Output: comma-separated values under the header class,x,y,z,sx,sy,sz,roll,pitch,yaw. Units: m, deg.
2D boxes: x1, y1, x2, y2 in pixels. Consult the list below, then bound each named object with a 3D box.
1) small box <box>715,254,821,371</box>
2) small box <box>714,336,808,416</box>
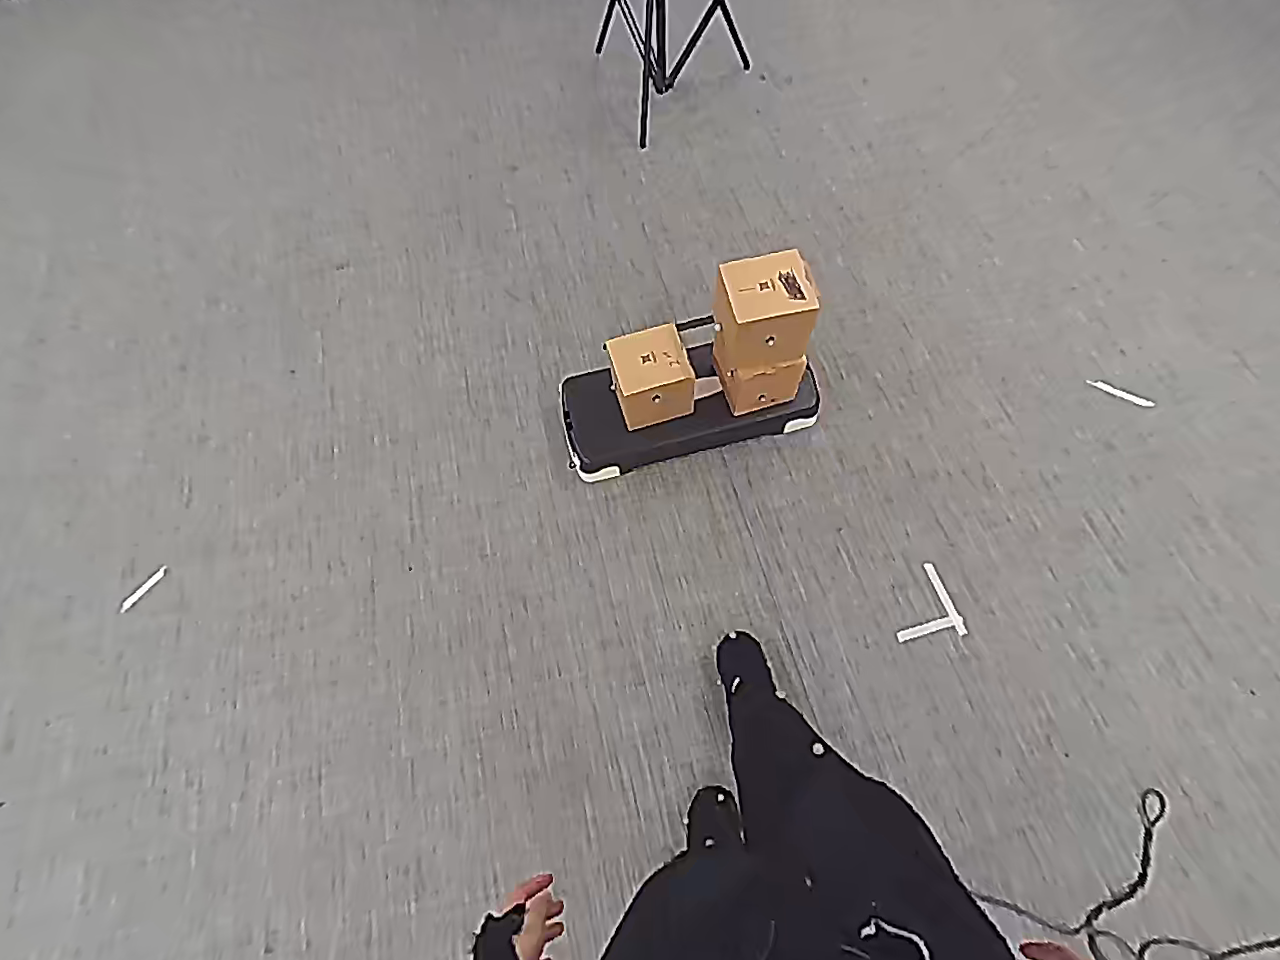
class,x,y,z,sx,sy,sz,roll,pitch,yaw
small box,0.273,-0.365,1.197,0.179,0.176,0.168,-11,67,-1
small box,0.290,-0.287,1.342,0.168,0.176,0.179,-16,67,-4
